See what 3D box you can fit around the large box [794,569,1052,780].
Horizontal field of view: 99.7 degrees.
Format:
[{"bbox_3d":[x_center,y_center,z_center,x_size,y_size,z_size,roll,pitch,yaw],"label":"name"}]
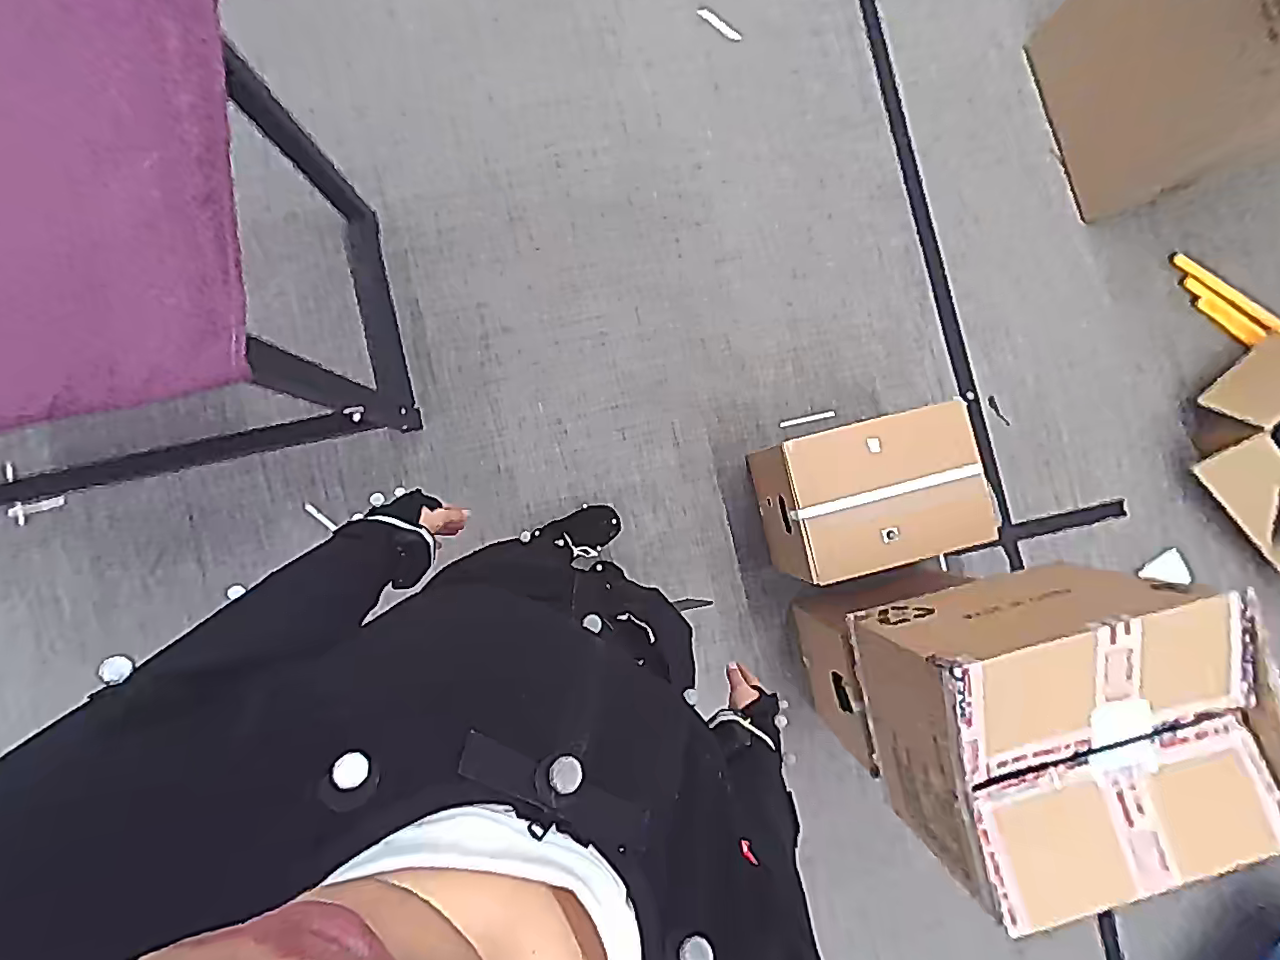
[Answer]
[{"bbox_3d":[0.631,0.425,1.270,0.408,0.320,0.320,-14,89,-2],"label":"large box"}]
